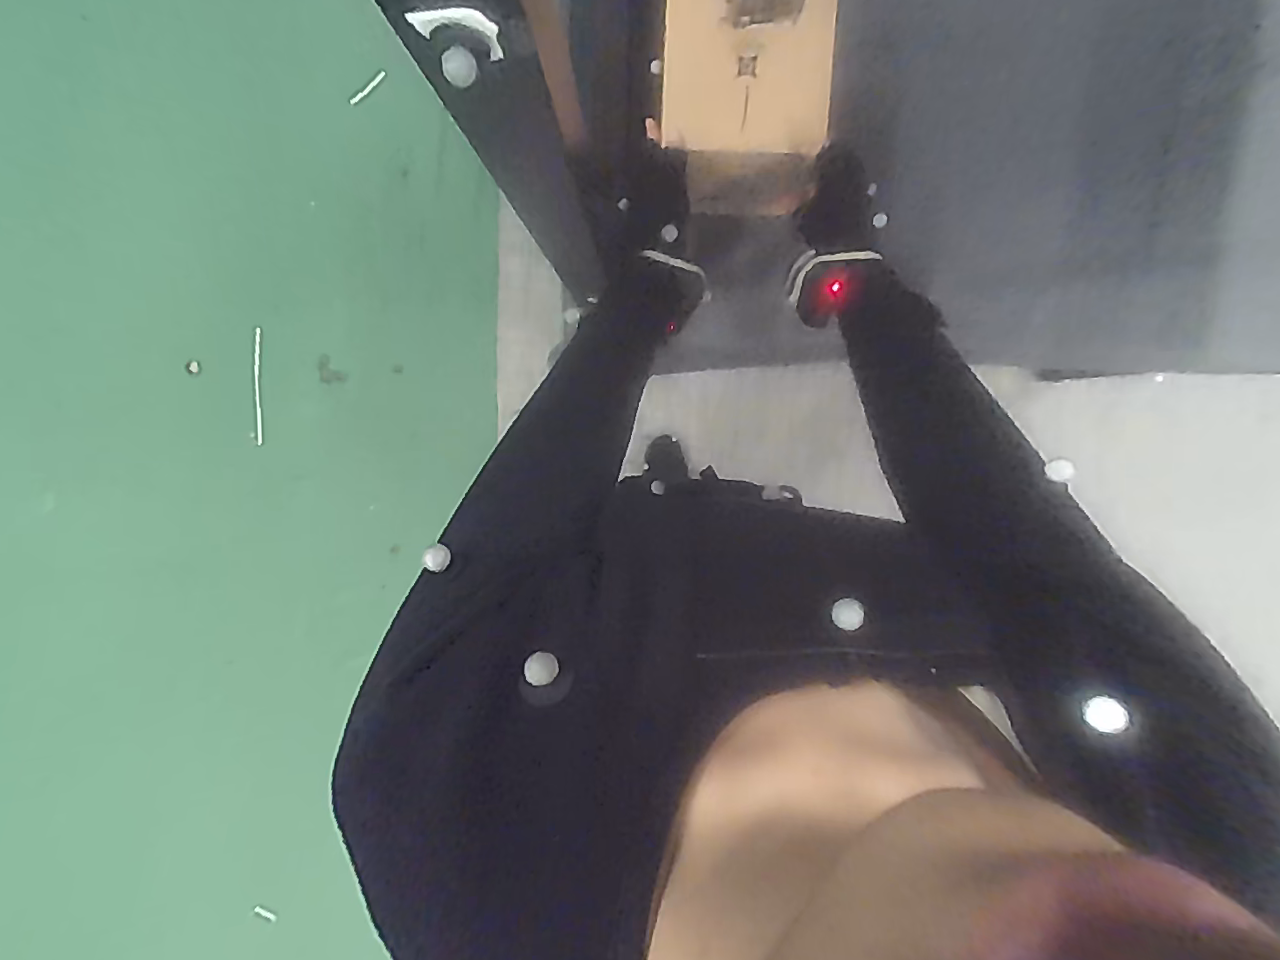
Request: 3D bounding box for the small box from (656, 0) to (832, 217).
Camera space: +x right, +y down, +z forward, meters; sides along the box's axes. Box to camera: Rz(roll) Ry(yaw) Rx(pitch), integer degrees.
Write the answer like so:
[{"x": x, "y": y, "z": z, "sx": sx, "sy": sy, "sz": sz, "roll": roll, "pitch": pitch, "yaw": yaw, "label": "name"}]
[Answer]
[{"x": 0.105, "y": -0.424, "z": 0.613, "sx": 0.168, "sy": 0.176, "sz": 0.179, "roll": 2, "pitch": 97, "yaw": 1, "label": "small box"}]
